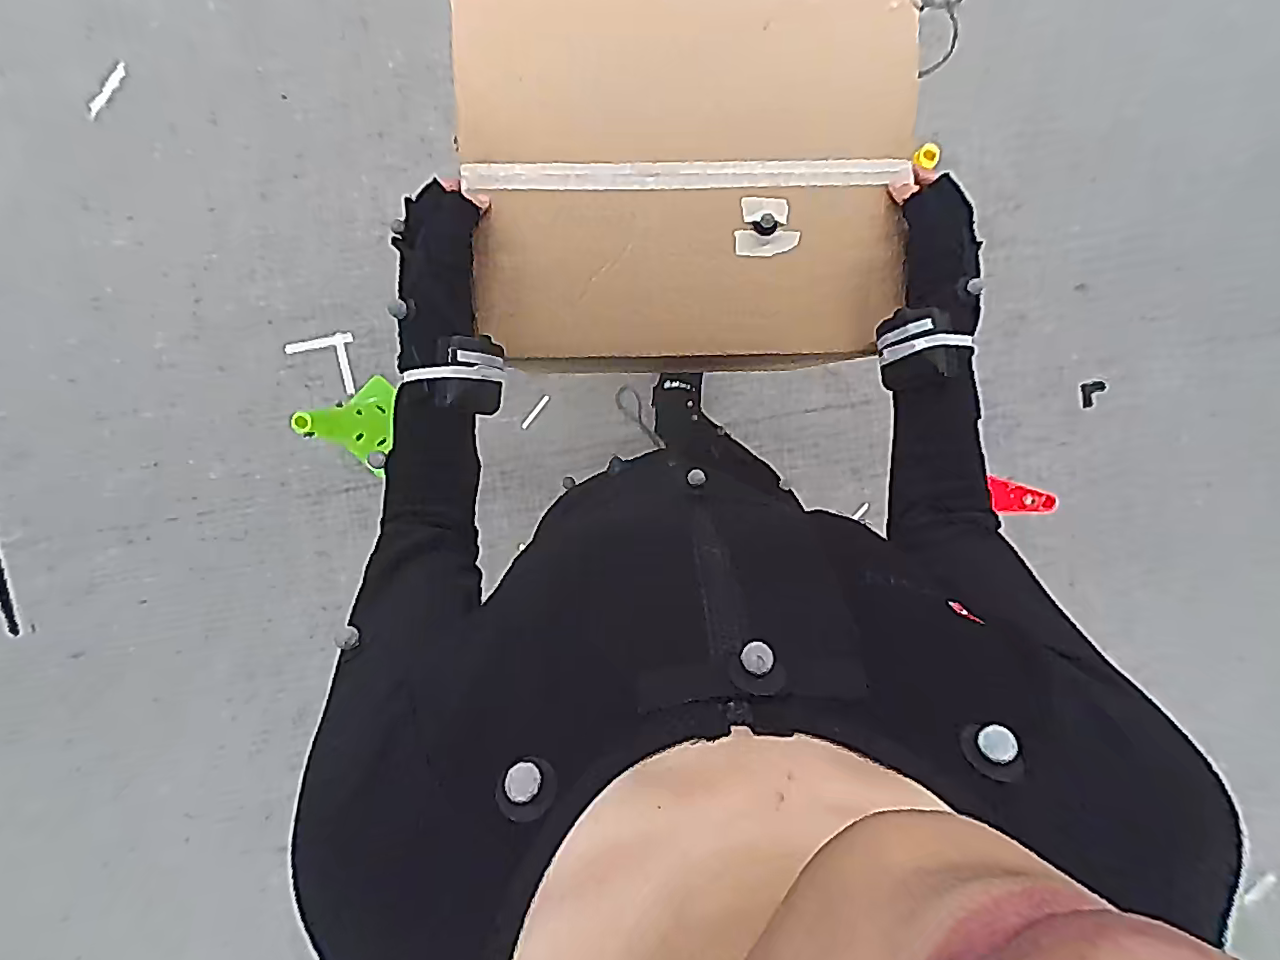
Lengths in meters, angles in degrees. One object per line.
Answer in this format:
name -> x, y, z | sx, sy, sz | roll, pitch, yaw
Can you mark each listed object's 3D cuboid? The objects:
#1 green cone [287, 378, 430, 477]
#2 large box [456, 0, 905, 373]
green cone -> -0.680, -0.123, 1.246 | 0.200, 0.368, 0.202 | 43, 93, -3
large box -> 0.035, -0.299, 0.639 | 0.408, 0.320, 0.320 | -2, 99, -3
